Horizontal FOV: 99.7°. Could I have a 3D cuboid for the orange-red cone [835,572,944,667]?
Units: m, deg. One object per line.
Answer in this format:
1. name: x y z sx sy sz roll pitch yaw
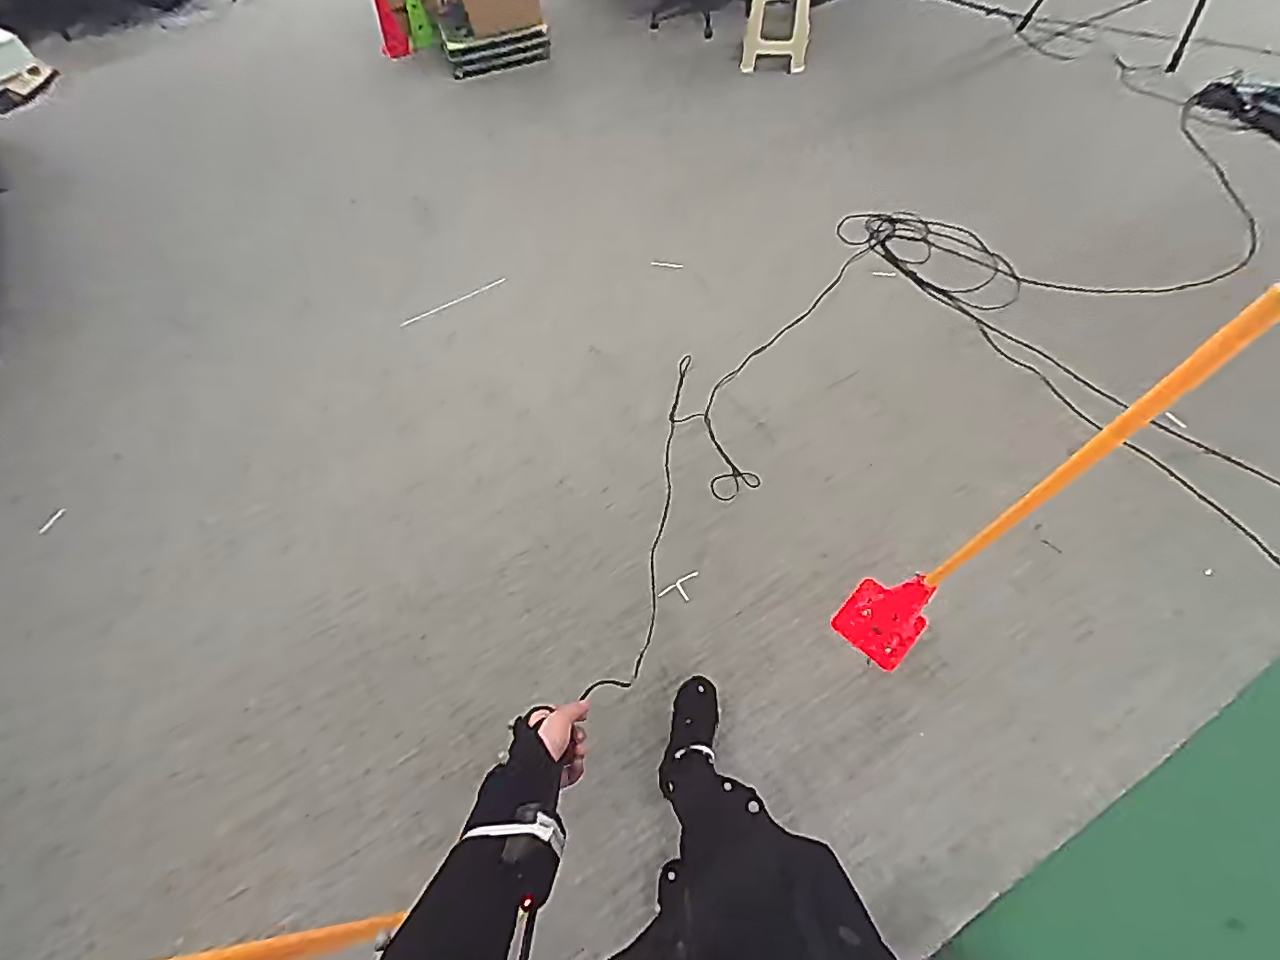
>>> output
1. orange-red cone: 0.665 0.307 1.360 0.198 0.360 0.199 41 69 21
